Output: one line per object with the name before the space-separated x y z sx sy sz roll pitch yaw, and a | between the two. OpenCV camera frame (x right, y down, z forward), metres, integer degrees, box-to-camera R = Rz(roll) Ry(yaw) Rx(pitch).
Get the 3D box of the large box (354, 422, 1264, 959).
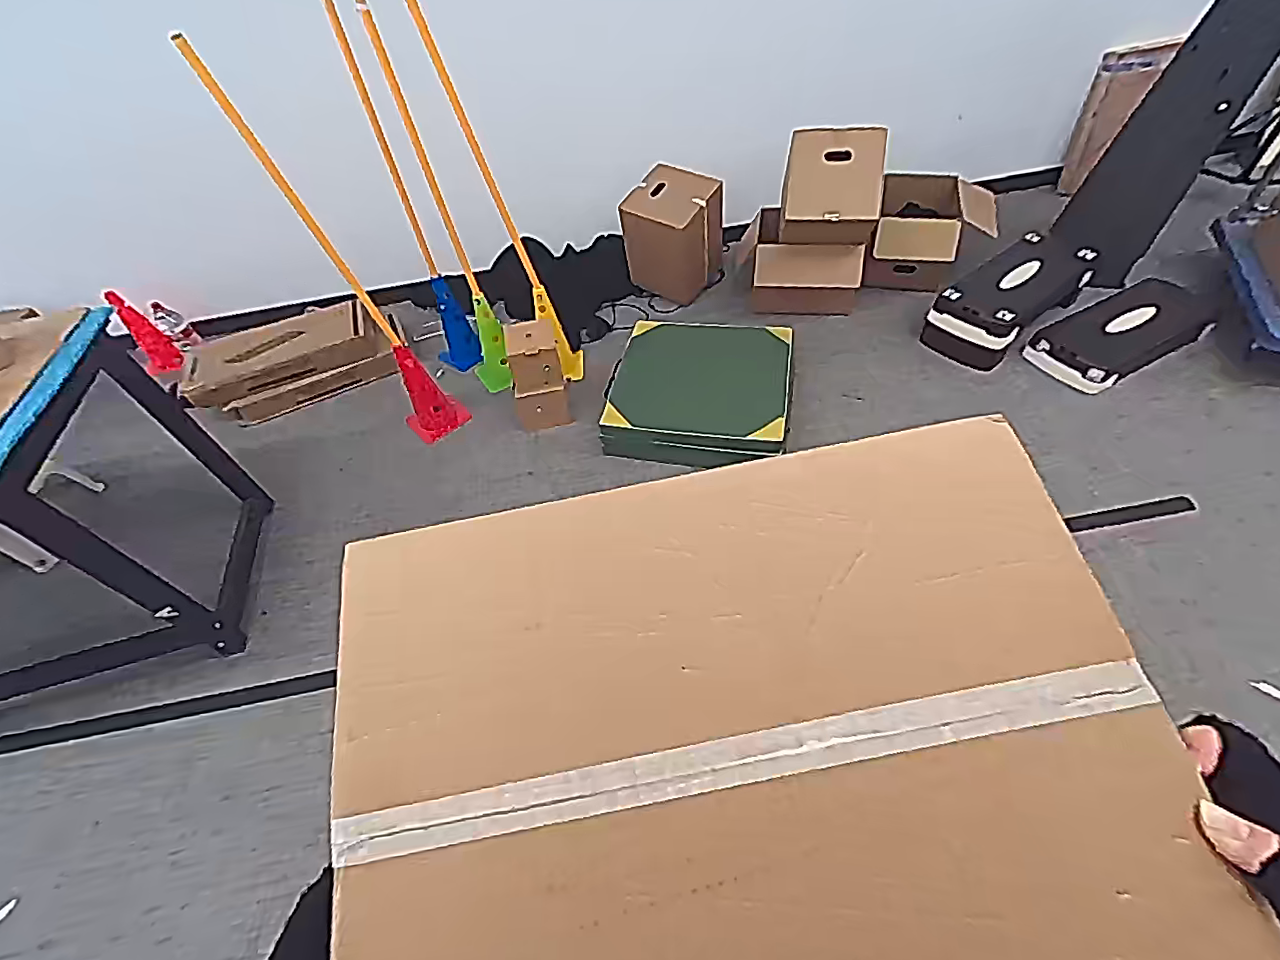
large box | 0.061 0.201 0.414 0.408 0.320 0.320 -12 66 0
